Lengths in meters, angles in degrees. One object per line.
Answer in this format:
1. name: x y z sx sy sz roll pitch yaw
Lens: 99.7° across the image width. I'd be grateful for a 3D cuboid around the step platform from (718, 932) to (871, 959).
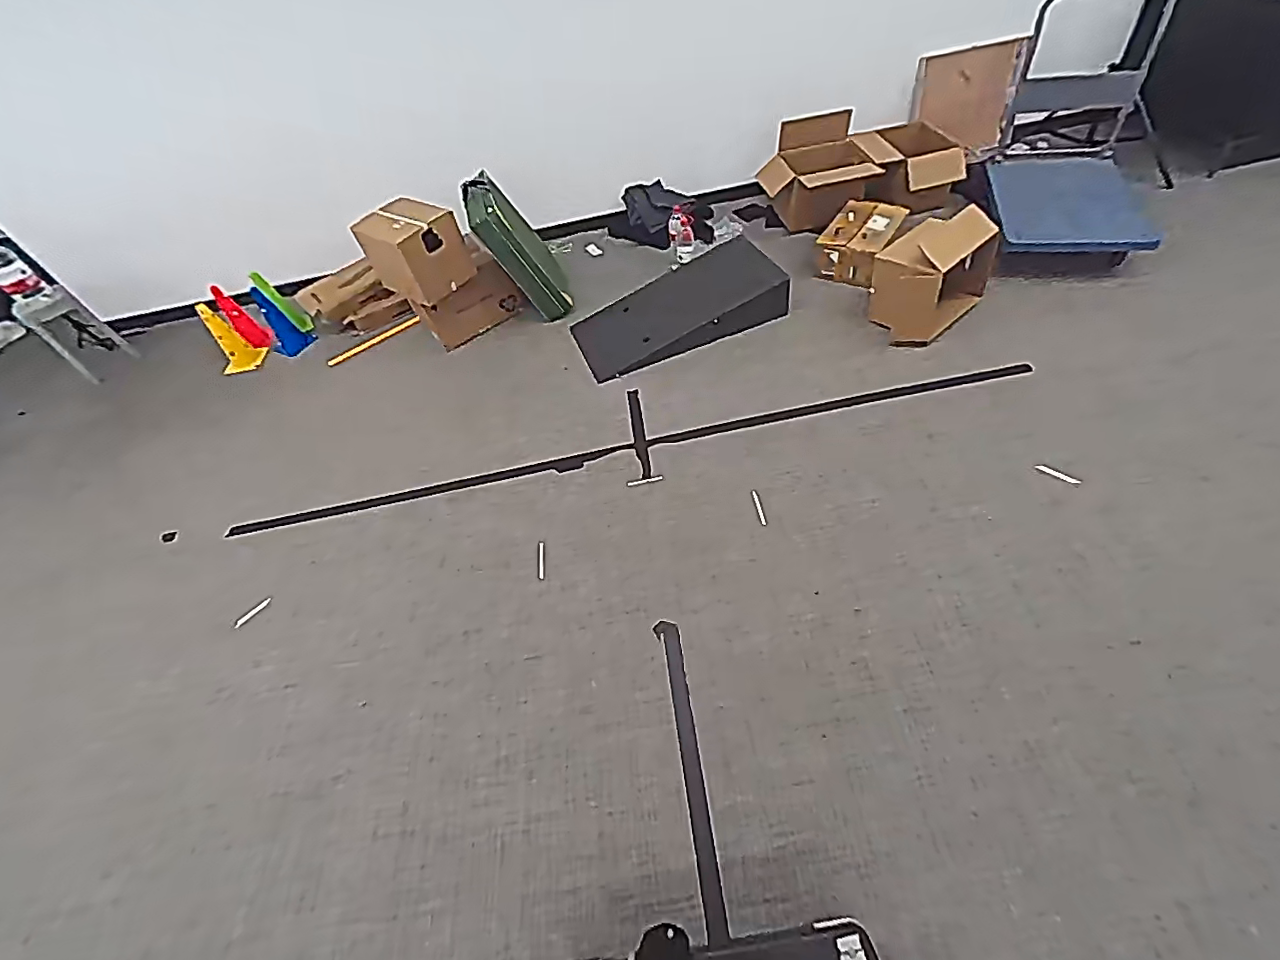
1. step platform: 0.158 1.119 1.052 0.684 0.204 0.286 -11 51 1
